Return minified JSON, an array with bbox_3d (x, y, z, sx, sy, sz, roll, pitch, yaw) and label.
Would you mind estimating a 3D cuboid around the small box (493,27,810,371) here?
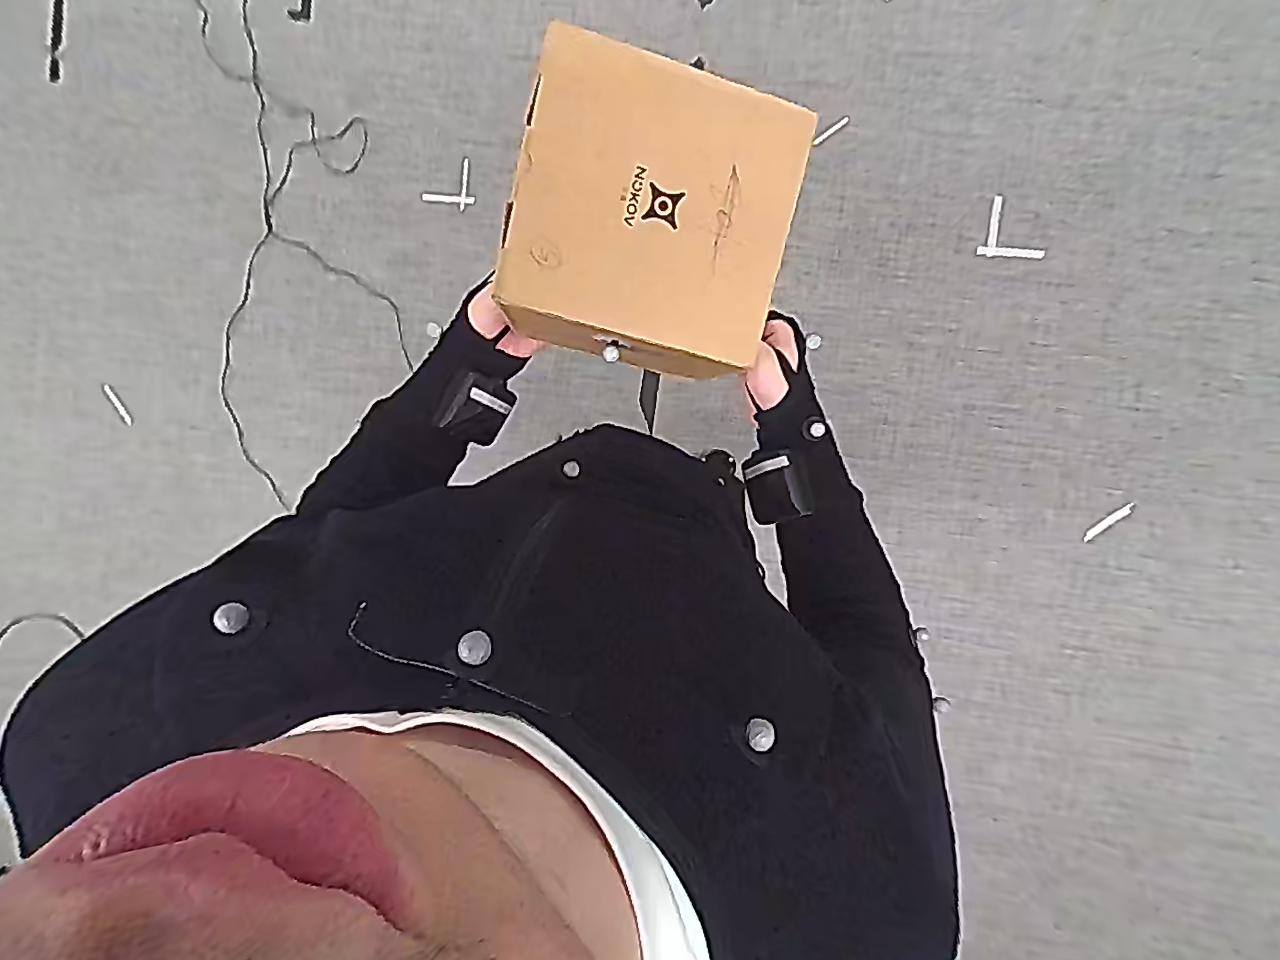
[{"bbox_3d":[-0.001,-0.187,0.425,0.179,0.176,0.168,13,96,-10],"label":"small box"}]
